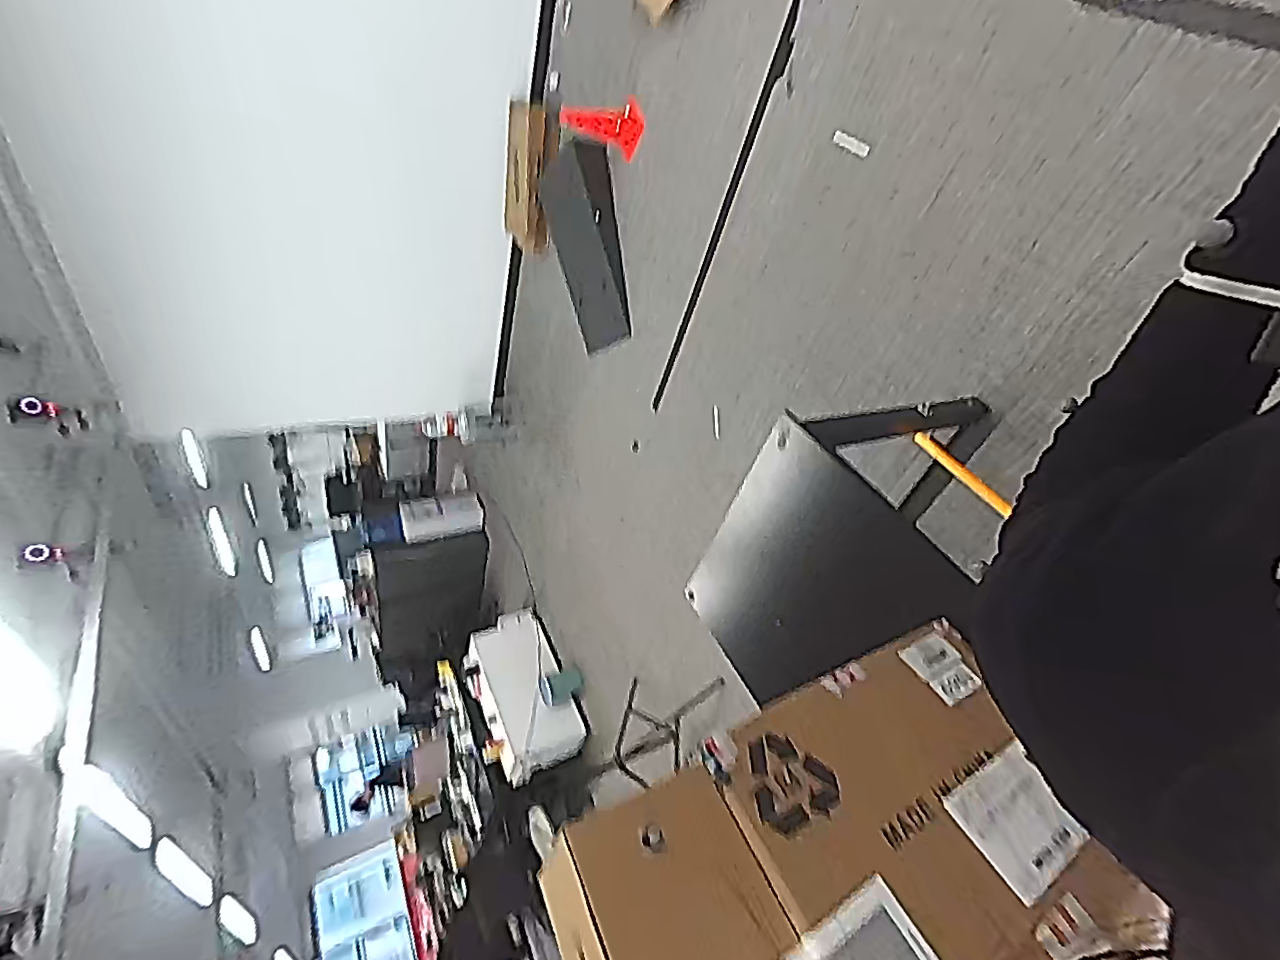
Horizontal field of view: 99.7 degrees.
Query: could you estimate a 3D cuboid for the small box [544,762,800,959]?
[{"bbox_3d":[0.022,0.417,0.547,0.179,0.176,0.168,54,141,36],"label":"small box"}]
